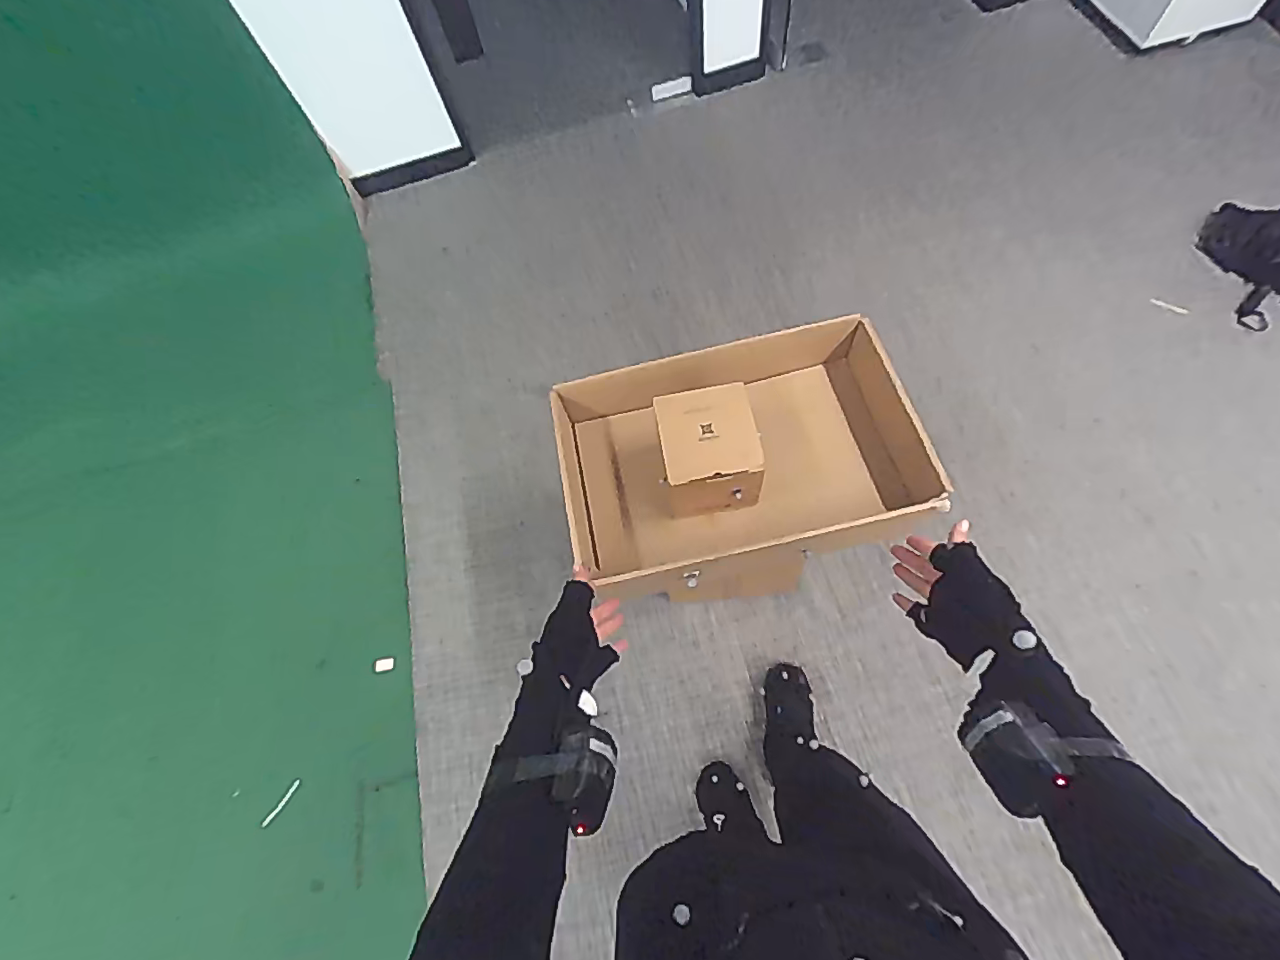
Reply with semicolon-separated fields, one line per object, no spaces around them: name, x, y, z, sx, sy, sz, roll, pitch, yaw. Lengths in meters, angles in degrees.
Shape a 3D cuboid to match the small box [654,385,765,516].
small box;0.124;-0.045;0.998;0.168;0.176;0.179;-10;63;0
